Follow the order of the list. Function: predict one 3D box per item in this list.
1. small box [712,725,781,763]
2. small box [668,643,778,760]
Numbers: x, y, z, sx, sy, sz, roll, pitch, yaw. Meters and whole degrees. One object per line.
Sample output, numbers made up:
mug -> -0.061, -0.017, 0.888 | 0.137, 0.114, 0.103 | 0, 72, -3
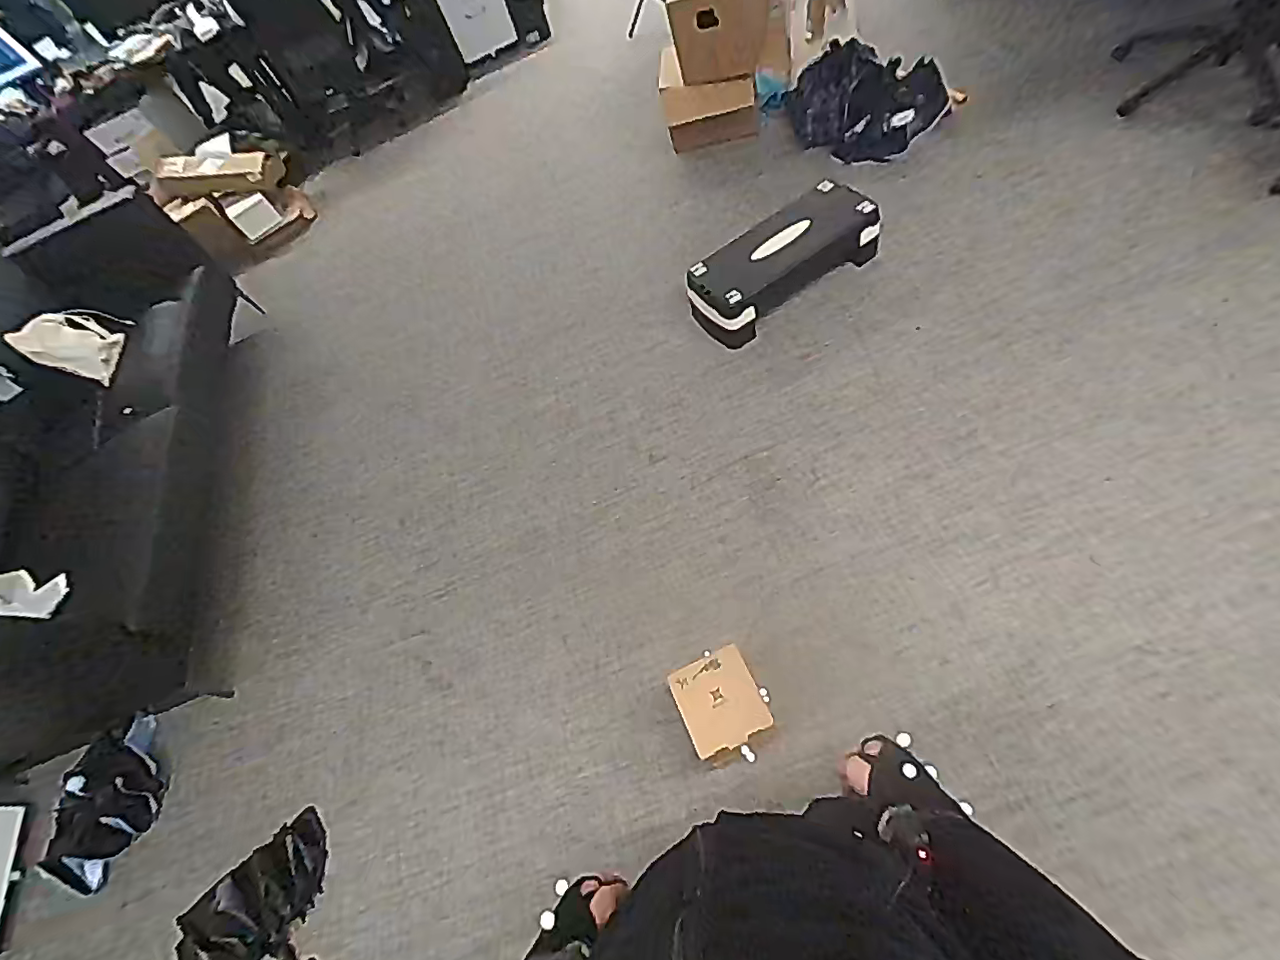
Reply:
small box -> 0.224, 0.561, 1.303 | 0.168, 0.176, 0.179 | -29, 58, 1
small box -> 0.184, 0.481, 1.167 | 0.168, 0.176, 0.179 | -28, 57, 2
